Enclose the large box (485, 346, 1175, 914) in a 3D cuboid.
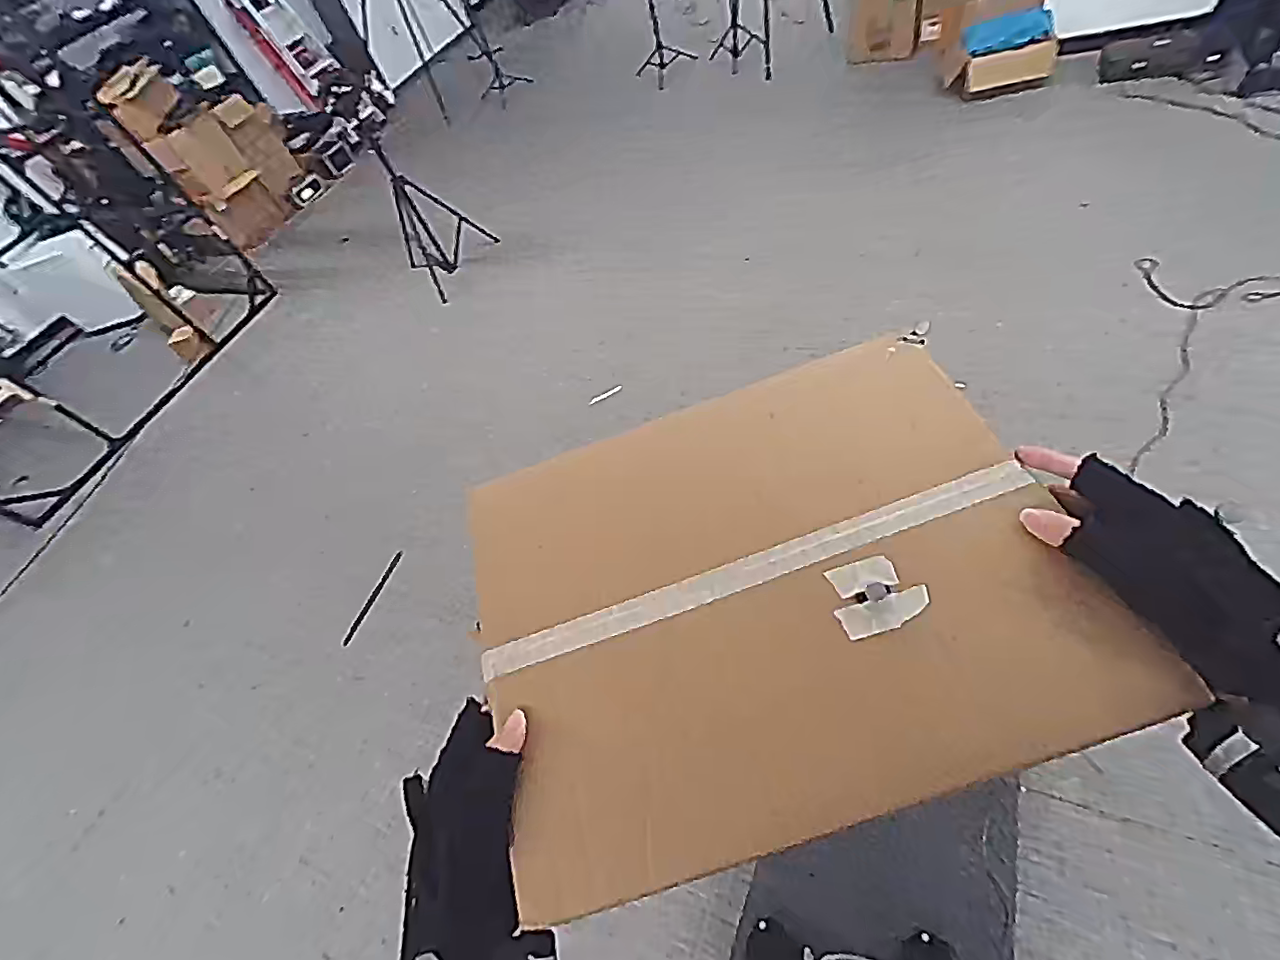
[{"bbox_3d":[0.117,0.145,0.523,0.408,0.320,0.320,-20,58,2],"label":"large box"}]
